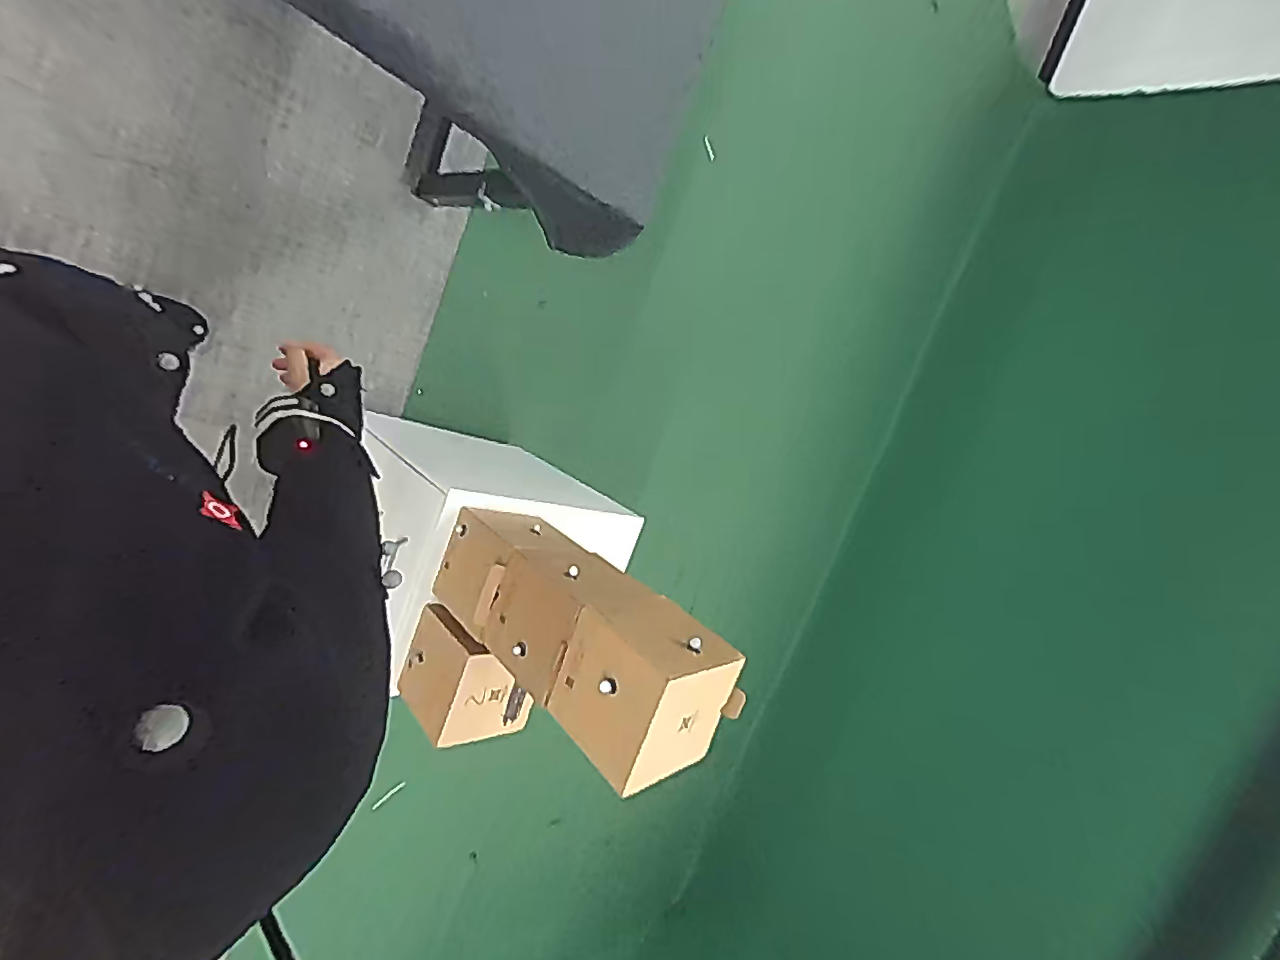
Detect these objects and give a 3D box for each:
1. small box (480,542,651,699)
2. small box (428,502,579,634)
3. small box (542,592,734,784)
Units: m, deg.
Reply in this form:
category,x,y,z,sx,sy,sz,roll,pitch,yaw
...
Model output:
category,x,y,z,sx,sy,sz,roll,pitch,yaw
small box,-0.120,0.207,0.846,0.179,0.176,0.168,9,106,-51
small box,-0.237,0.148,0.942,0.179,0.176,0.168,14,102,-51
small box,-0.007,0.269,0.747,0.179,0.176,0.168,8,107,-50
